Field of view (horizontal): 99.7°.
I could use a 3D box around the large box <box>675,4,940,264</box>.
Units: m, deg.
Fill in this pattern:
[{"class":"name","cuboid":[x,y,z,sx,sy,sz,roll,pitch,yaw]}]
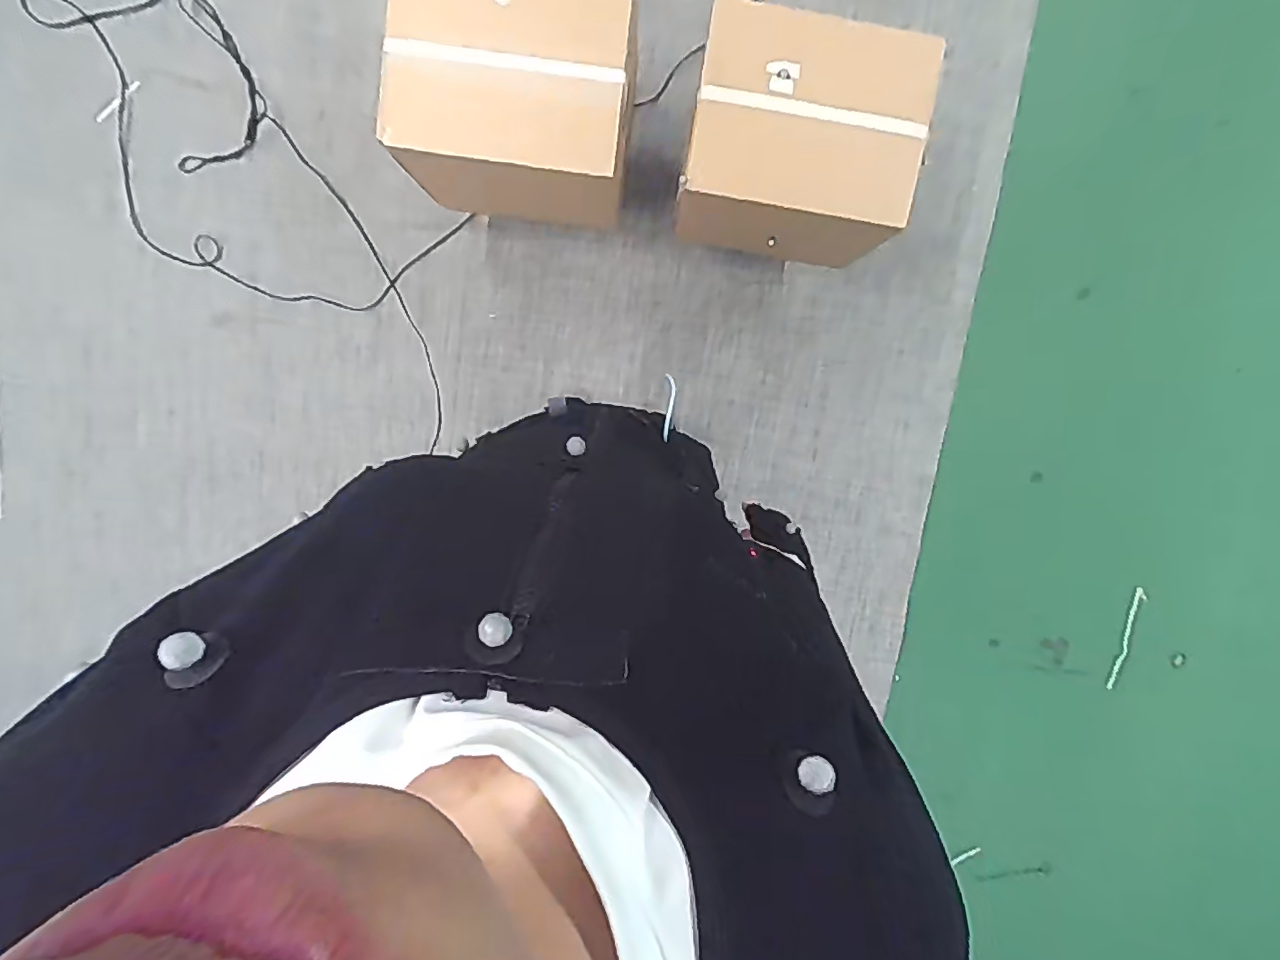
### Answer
[{"class":"large box","cuboid":[0.301,-0.656,1.095,0.408,0.320,0.320,10,98,-2]}]
